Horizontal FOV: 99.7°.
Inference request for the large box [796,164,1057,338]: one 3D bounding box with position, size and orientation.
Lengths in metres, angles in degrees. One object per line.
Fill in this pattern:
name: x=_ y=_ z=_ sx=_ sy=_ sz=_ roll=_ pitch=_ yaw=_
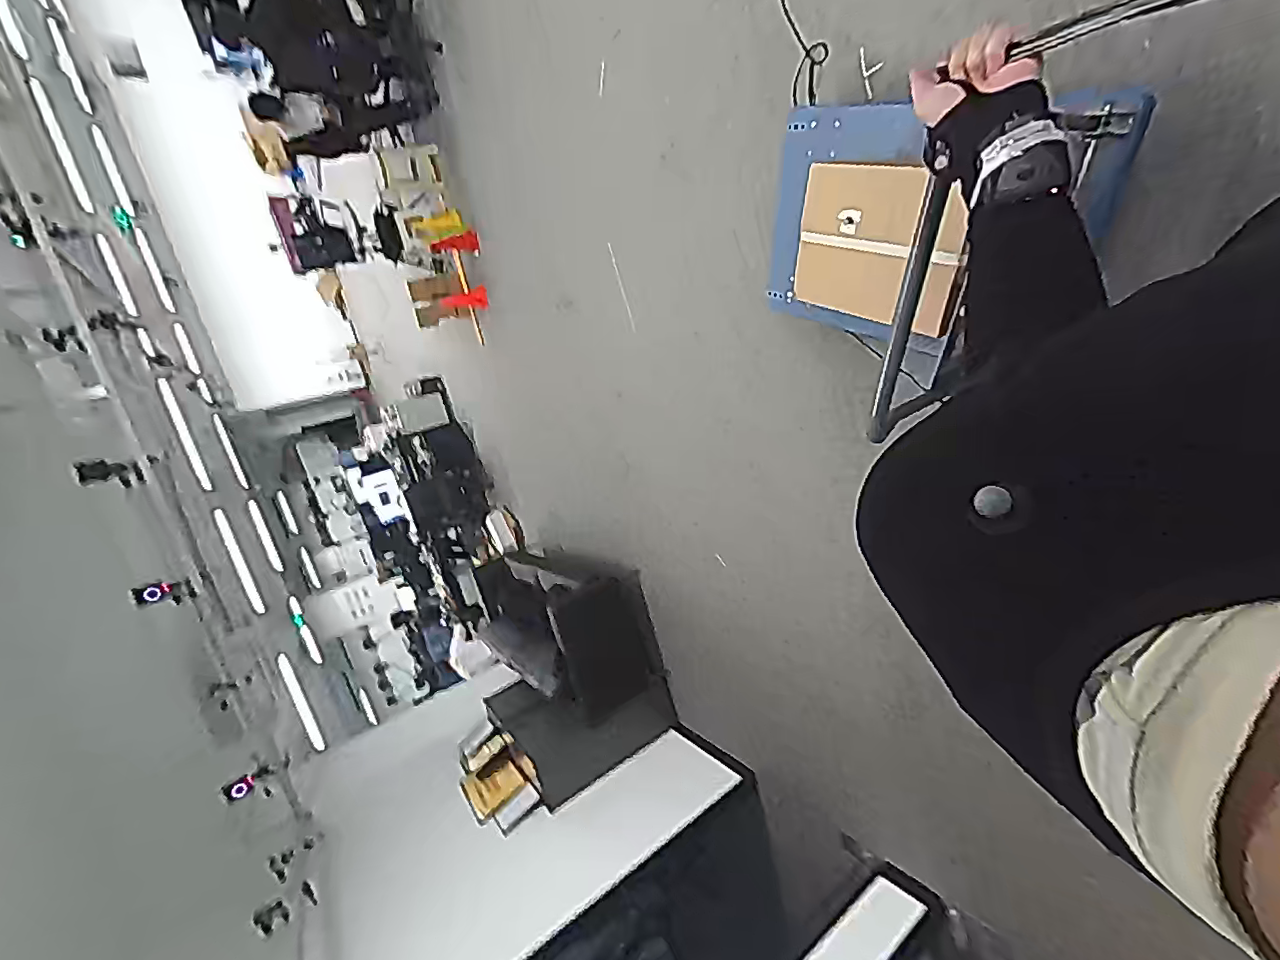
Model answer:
large box: x=0.640 y=-0.555 z=1.265 sx=0.408 sy=0.320 sz=0.320 roll=38 pitch=138 yaw=44
